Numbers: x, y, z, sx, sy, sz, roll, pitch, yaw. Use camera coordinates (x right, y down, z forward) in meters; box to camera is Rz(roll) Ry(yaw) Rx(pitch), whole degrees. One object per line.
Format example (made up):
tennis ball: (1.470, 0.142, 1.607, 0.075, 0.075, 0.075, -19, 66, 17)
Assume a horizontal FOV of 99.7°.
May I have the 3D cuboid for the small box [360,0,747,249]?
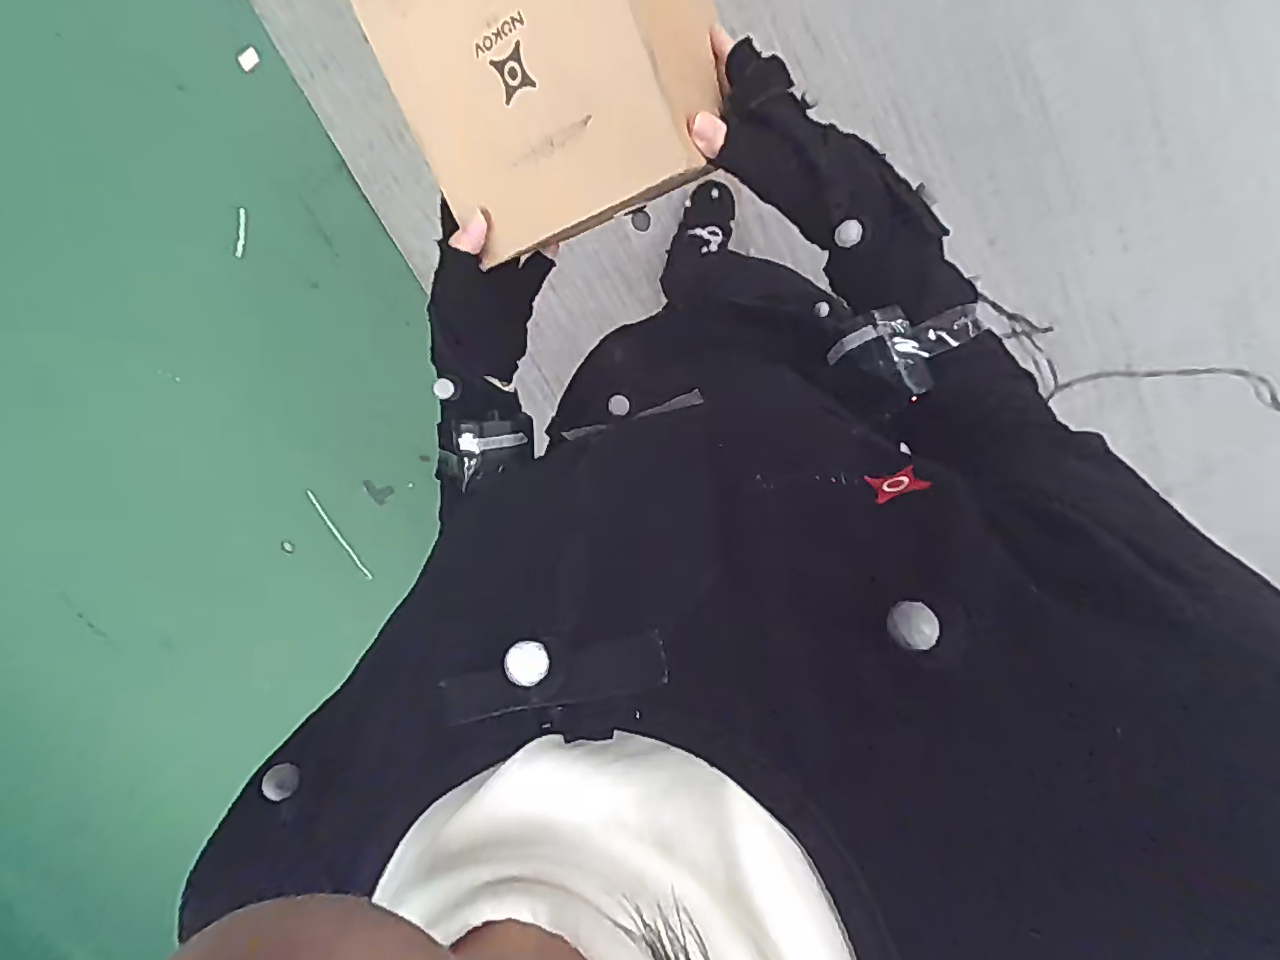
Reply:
small box: (-0.043, -0.282, 0.363, 0.168, 0.176, 0.179, -10, 116, 31)
